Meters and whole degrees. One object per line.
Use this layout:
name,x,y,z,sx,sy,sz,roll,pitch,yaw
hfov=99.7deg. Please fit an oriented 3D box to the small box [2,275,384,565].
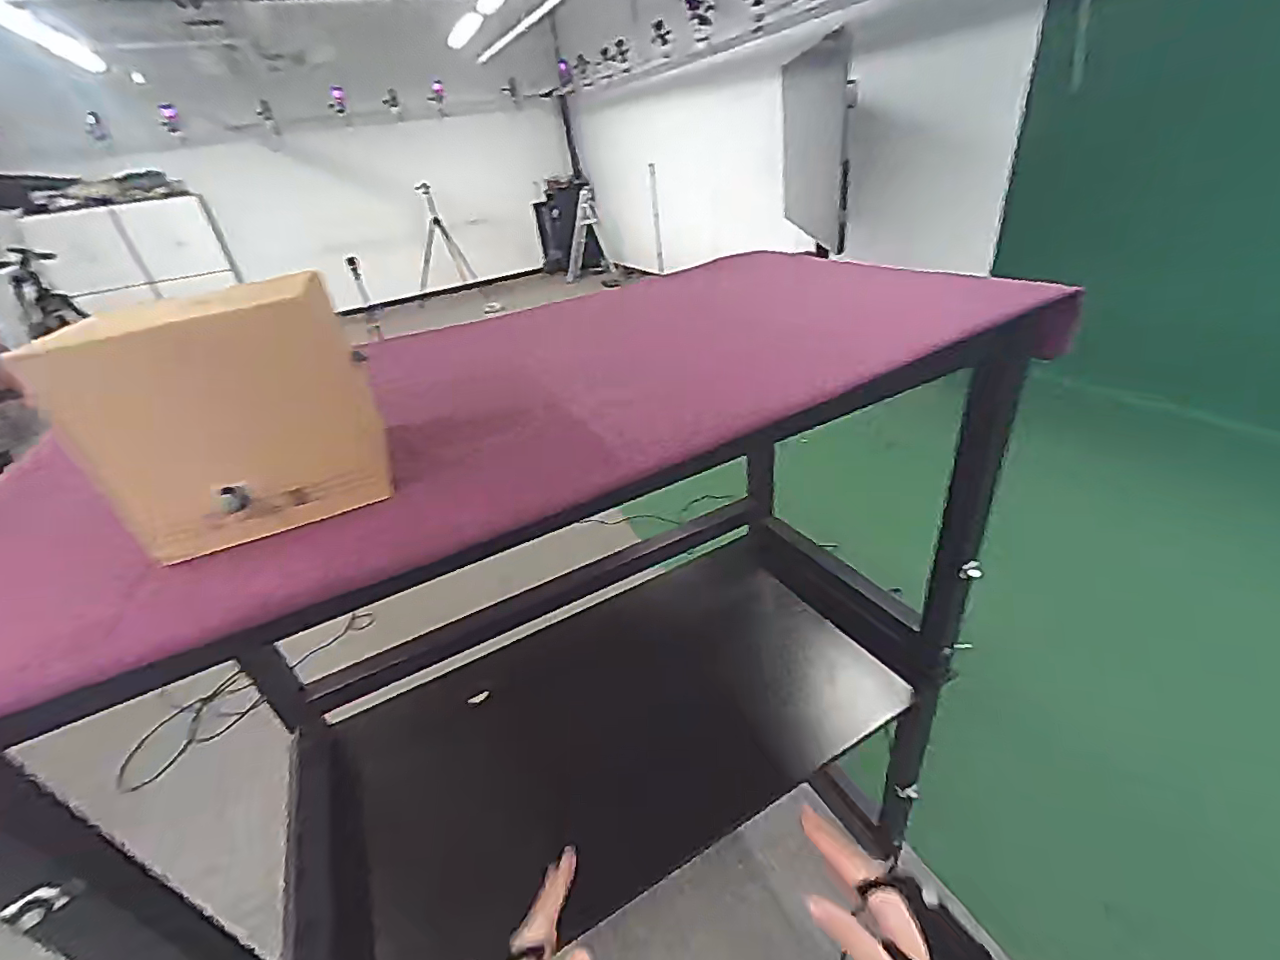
small box,-0.329,-0.060,0.451,0.168,0.176,0.179,-20,33,-16
